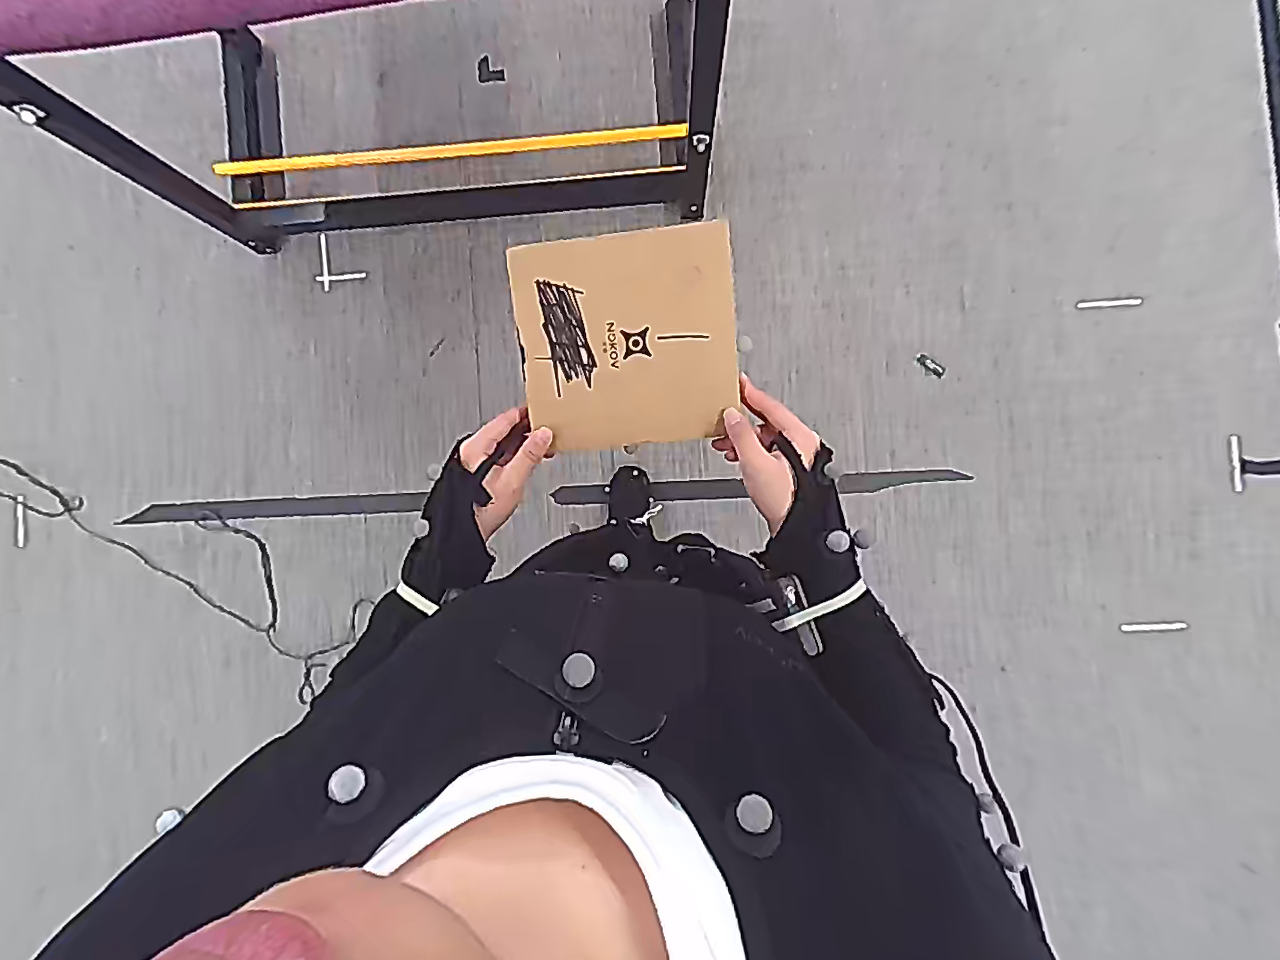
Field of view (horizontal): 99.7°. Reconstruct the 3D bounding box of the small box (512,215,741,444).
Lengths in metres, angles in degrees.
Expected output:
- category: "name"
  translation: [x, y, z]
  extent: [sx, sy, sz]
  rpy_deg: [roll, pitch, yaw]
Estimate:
- category: "small box"
  translation: [0.001, -0.128, 0.506]
  extent: [0.179, 0.176, 0.168]
  rpy_deg: [-4, 101, 9]
